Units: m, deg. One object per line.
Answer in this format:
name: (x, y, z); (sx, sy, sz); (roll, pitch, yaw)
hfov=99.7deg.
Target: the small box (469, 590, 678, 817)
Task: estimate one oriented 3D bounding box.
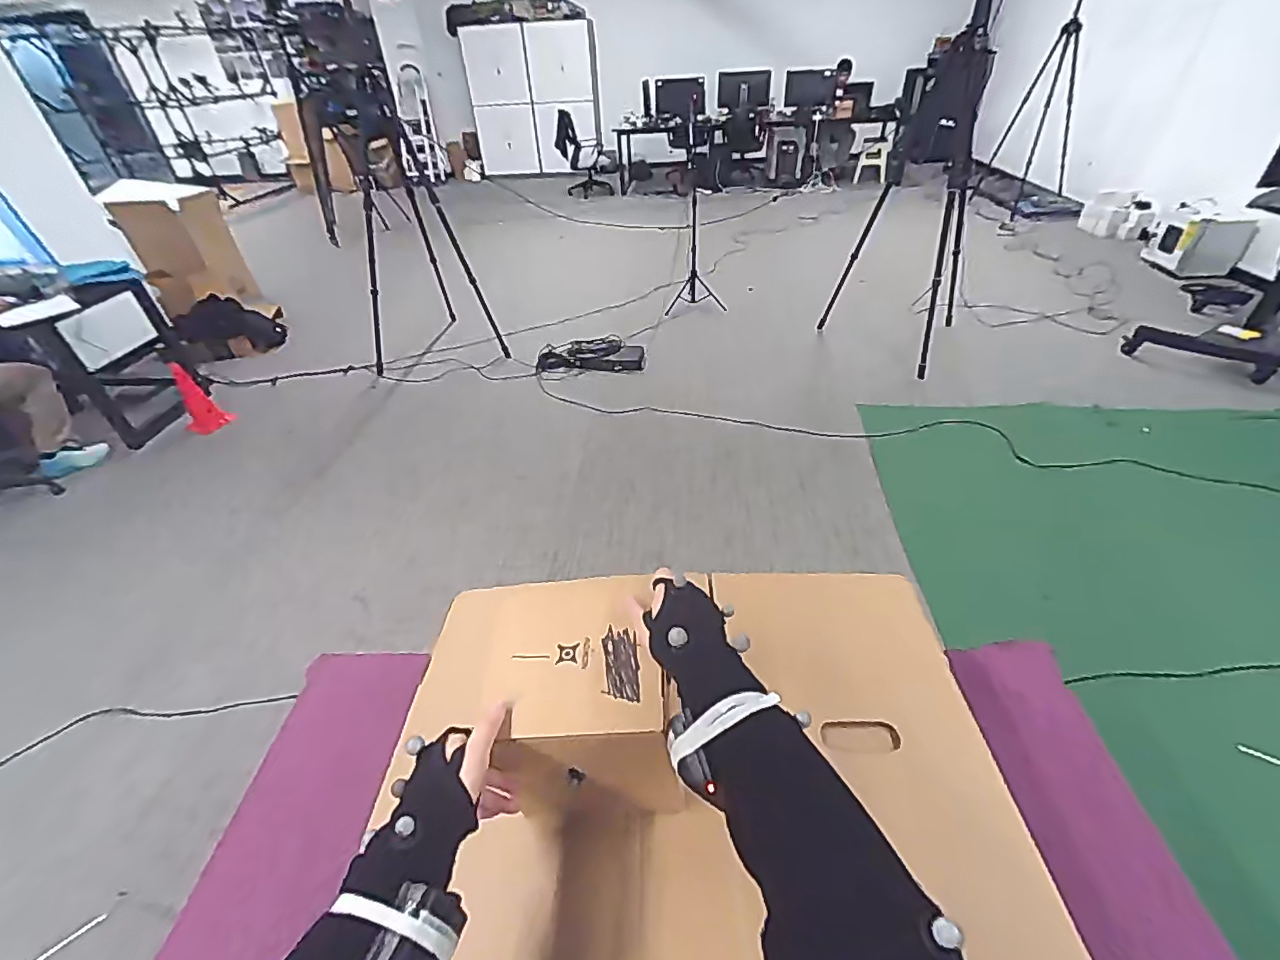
small box: (-0.053, 0.241, 0.582); (0.179, 0.176, 0.168); (-7, 38, 7)
